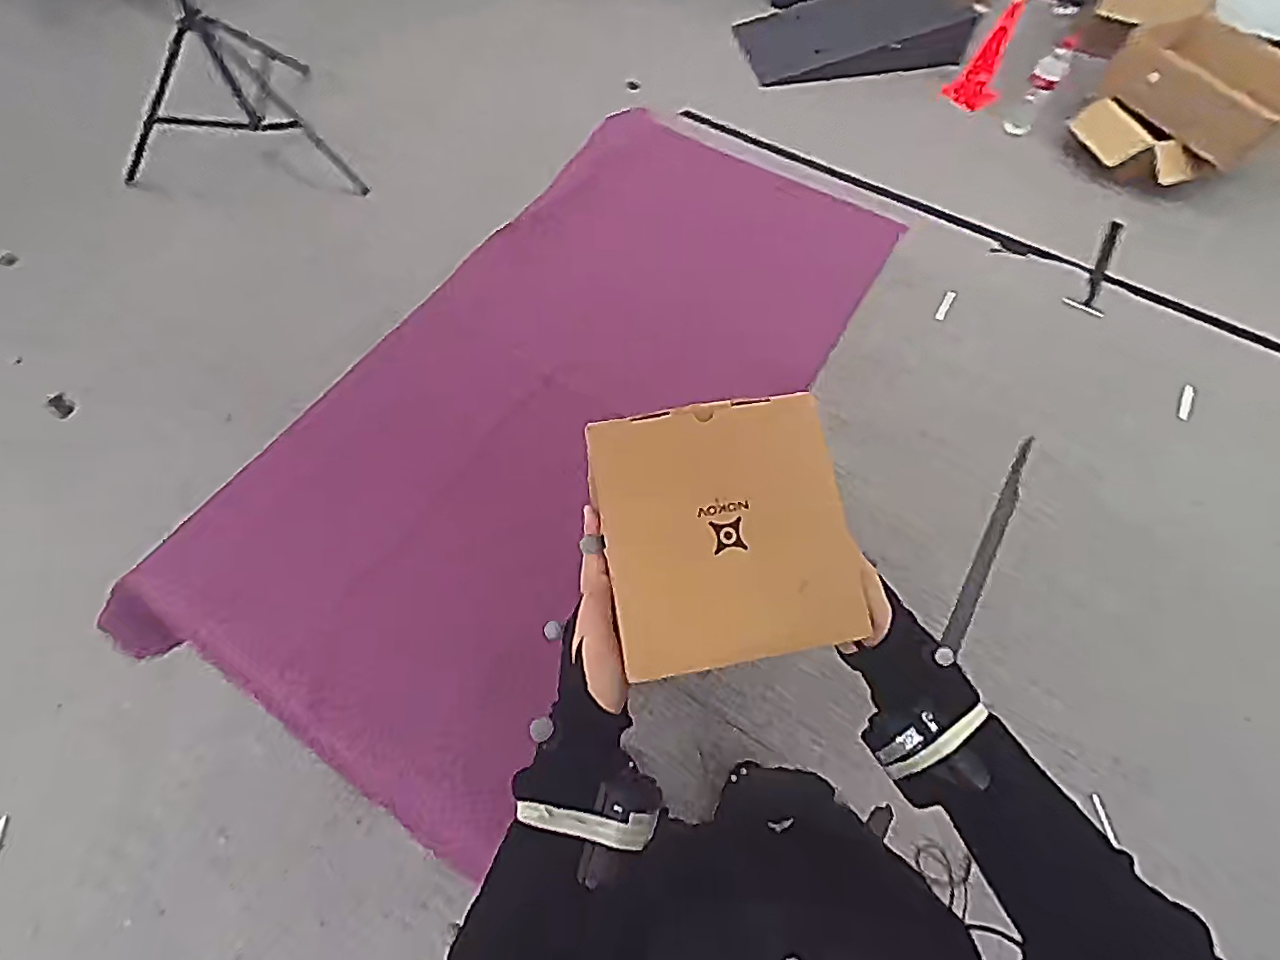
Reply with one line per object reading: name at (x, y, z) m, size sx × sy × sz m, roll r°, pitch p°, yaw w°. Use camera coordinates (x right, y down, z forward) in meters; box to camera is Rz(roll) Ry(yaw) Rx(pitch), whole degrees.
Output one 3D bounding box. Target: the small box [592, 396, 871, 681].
small box at (0.057, 0.050, 0.445) m, size 0.168 × 0.176 × 0.179 m, roll -9°, pitch 78°, yaw -5°
